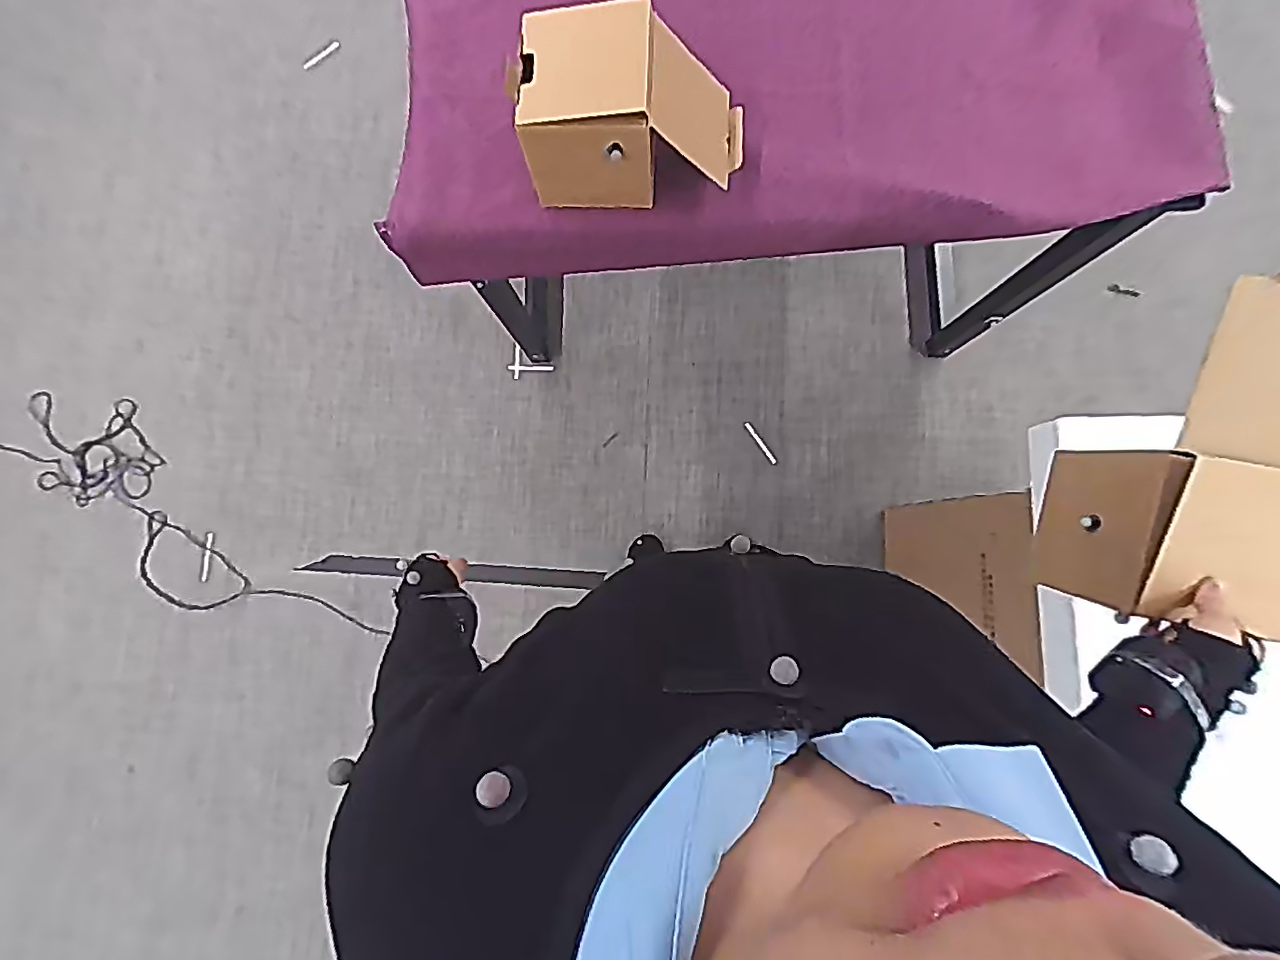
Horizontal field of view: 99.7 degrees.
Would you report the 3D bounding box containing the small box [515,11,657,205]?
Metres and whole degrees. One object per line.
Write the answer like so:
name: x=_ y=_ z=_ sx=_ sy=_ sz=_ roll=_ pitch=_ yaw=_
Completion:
small box: x=-0.066 y=-0.521 z=0.778 sx=0.179 sy=0.176 sz=0.168 roll=2 pitch=82 yaw=4
